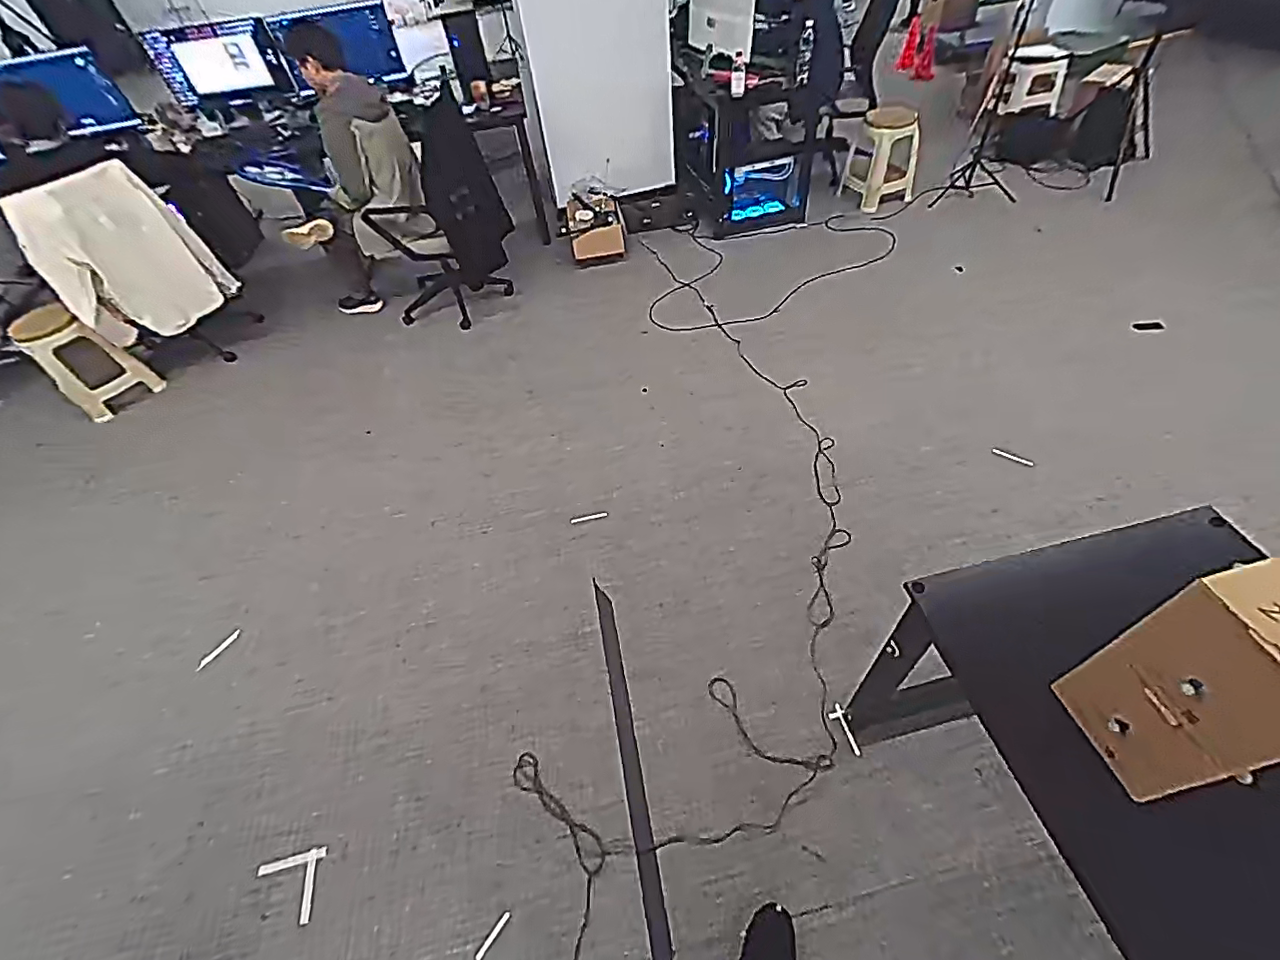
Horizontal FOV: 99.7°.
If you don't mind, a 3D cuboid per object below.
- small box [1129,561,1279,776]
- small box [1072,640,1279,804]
[{"bbox_3d":[0.712,0.198,0.591,0.179,0.176,0.168,-14,49,-4],"label":"small box"},{"bbox_3d":[0.727,0.305,0.716,0.179,0.176,0.168,-15,50,-5],"label":"small box"}]
